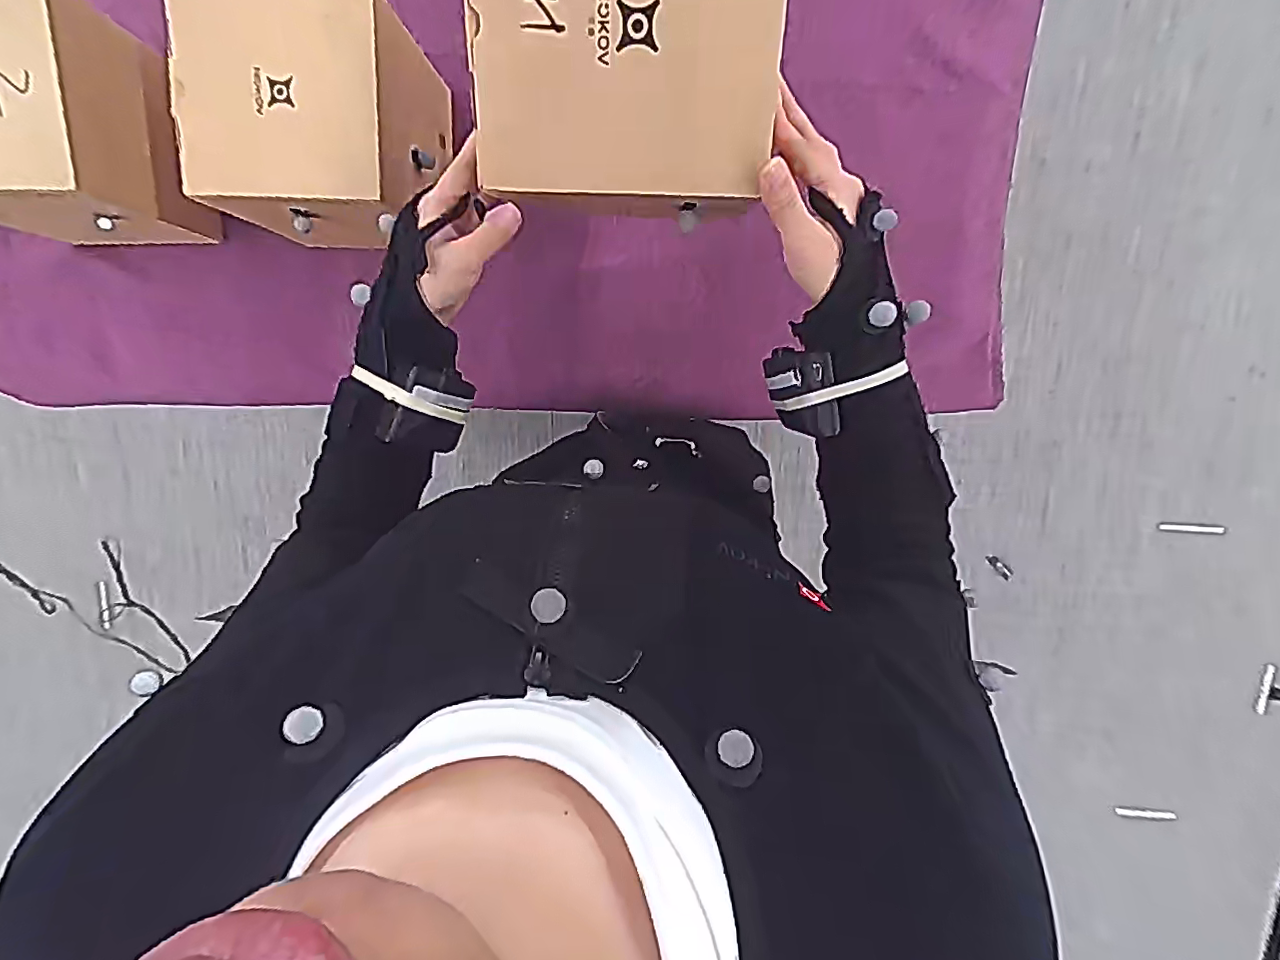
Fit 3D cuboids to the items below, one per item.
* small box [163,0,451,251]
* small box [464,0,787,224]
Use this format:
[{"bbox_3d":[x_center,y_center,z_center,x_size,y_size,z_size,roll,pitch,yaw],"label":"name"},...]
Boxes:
[{"bbox_3d":[-0.294,-0.328,0.520,0.179,0.176,0.168,3,99,3],"label":"small box"},{"bbox_3d":[-0.004,-0.274,0.366,0.179,0.176,0.168,4,110,4],"label":"small box"}]
